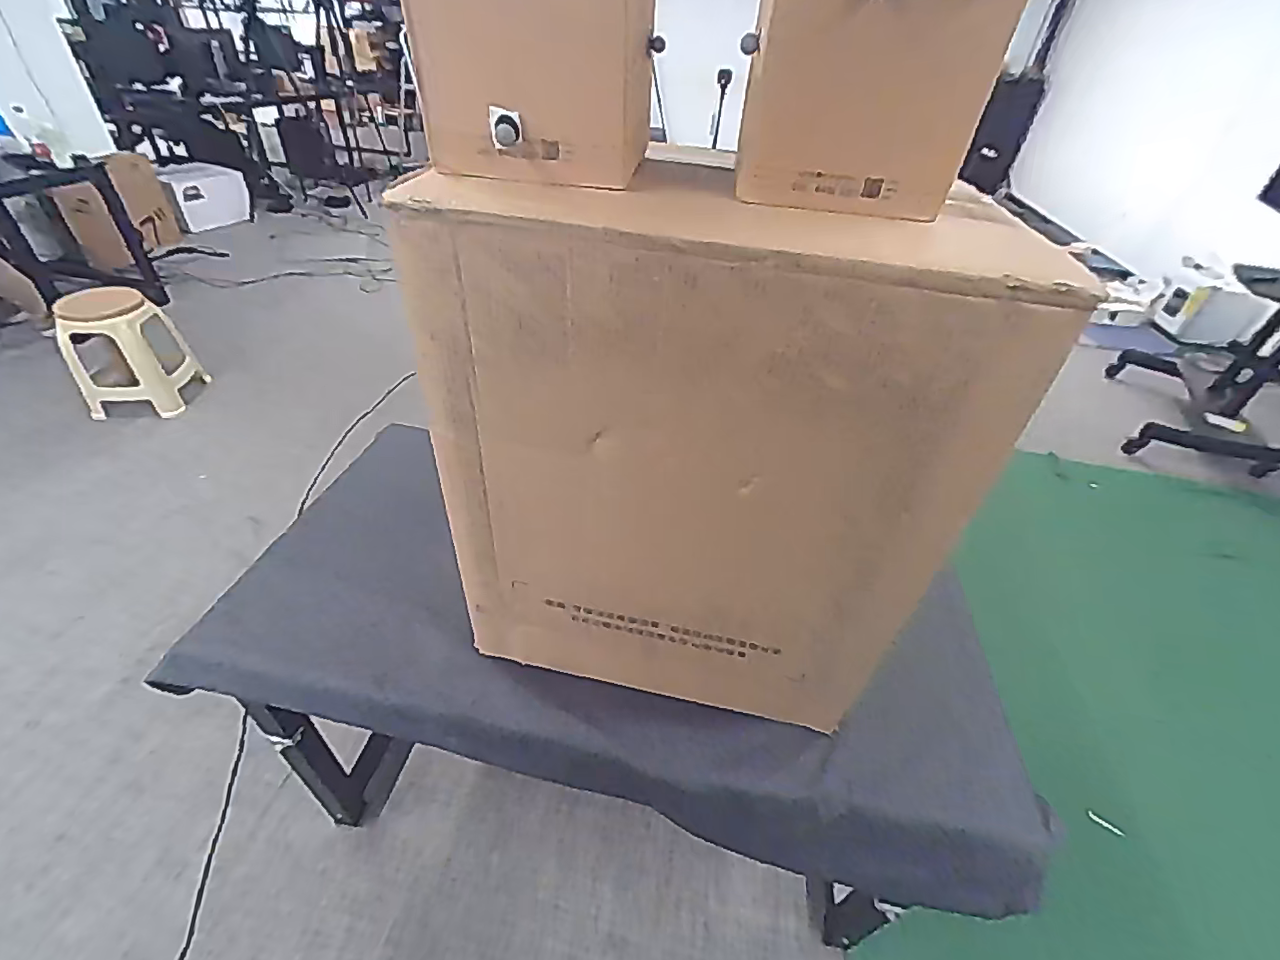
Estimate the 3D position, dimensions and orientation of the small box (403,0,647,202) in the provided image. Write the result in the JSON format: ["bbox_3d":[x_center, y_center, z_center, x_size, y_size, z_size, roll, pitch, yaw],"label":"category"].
[{"bbox_3d":[-0.085,-0.357,0.464,0.168,0.176,0.179,5,43,5],"label":"small box"}]

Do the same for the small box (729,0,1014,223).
[{"bbox_3d":[0.169,-0.334,0.453,0.168,0.176,0.179,6,41,3],"label":"small box"}]
